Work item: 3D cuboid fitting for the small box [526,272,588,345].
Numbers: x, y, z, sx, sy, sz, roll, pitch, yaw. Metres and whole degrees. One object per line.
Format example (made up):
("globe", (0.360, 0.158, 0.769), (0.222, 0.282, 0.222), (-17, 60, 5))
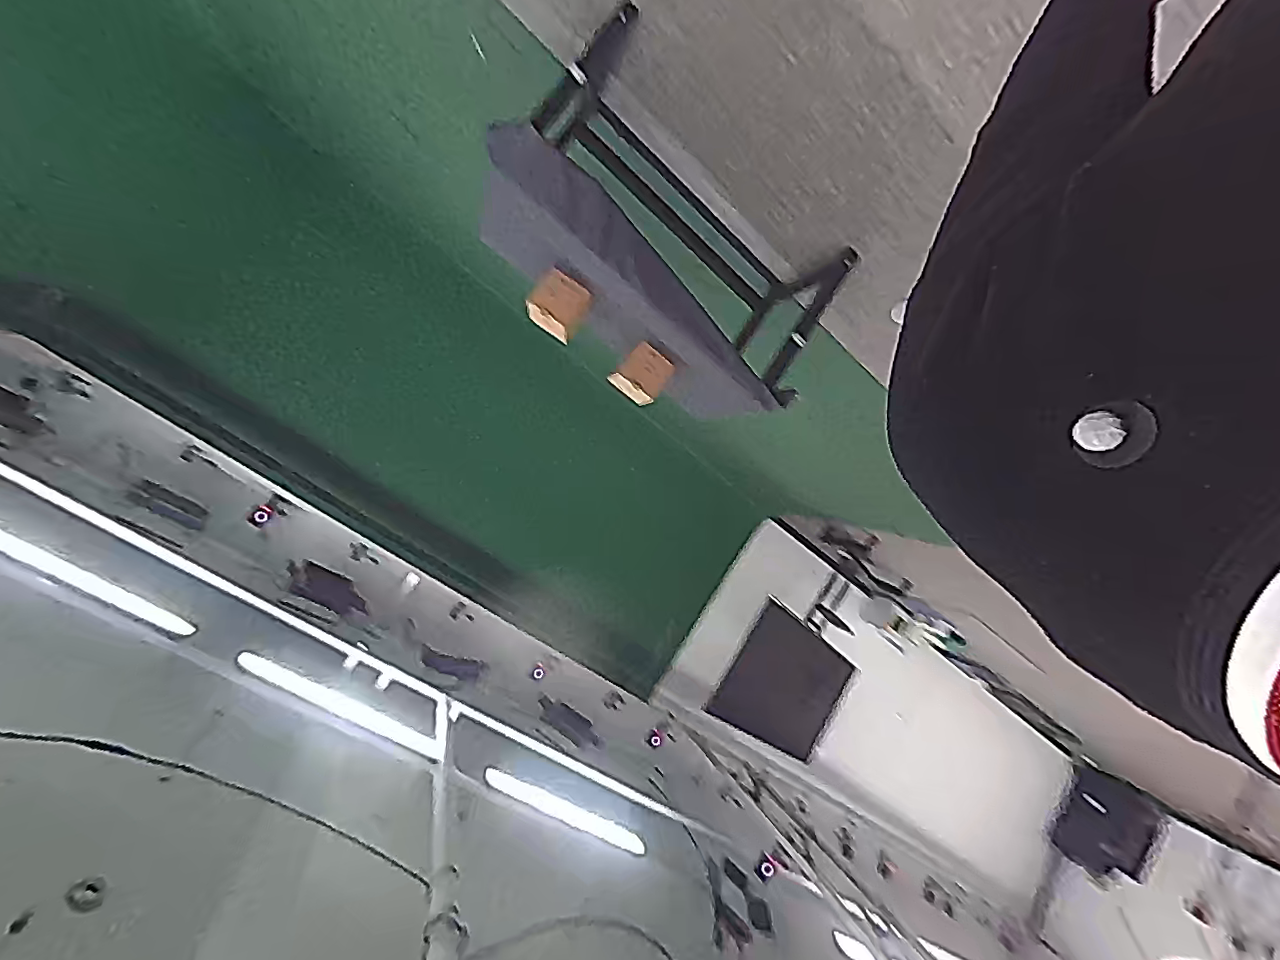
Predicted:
("small box", (-0.311, -0.647, 2.040), (0.168, 0.176, 0.179), (38, 170, -4))

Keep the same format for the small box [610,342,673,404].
("small box", (0.008, -0.429, 2.159), (0.168, 0.176, 0.179), (35, 171, -14))
